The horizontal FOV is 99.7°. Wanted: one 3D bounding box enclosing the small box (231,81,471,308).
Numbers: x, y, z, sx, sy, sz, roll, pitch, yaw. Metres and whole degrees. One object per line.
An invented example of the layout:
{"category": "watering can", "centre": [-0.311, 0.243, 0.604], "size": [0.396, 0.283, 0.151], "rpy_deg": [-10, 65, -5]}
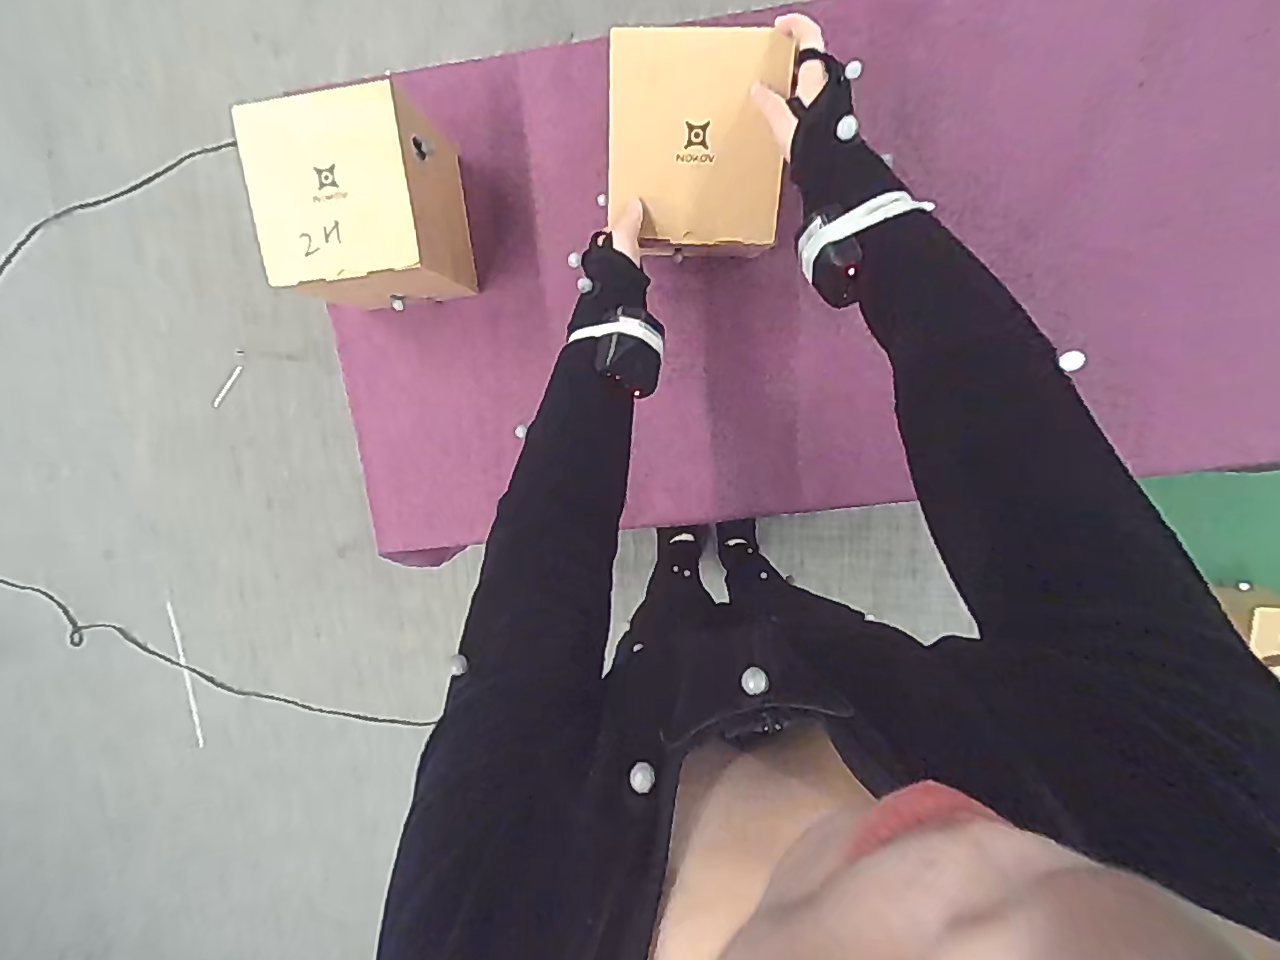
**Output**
{"category": "small box", "centre": [-0.311, -0.307, 0.619], "size": [0.168, 0.176, 0.179], "rpy_deg": [-6, 99, 5]}

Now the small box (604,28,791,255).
{"category": "small box", "centre": [0.053, -0.341, 0.578], "size": [0.168, 0.176, 0.179], "rpy_deg": [3, 111, 3]}

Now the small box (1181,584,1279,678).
{"category": "small box", "centre": [1.513, 0.373, 1.346], "size": [0.168, 0.176, 0.179], "rpy_deg": [-1, 98, 4]}
